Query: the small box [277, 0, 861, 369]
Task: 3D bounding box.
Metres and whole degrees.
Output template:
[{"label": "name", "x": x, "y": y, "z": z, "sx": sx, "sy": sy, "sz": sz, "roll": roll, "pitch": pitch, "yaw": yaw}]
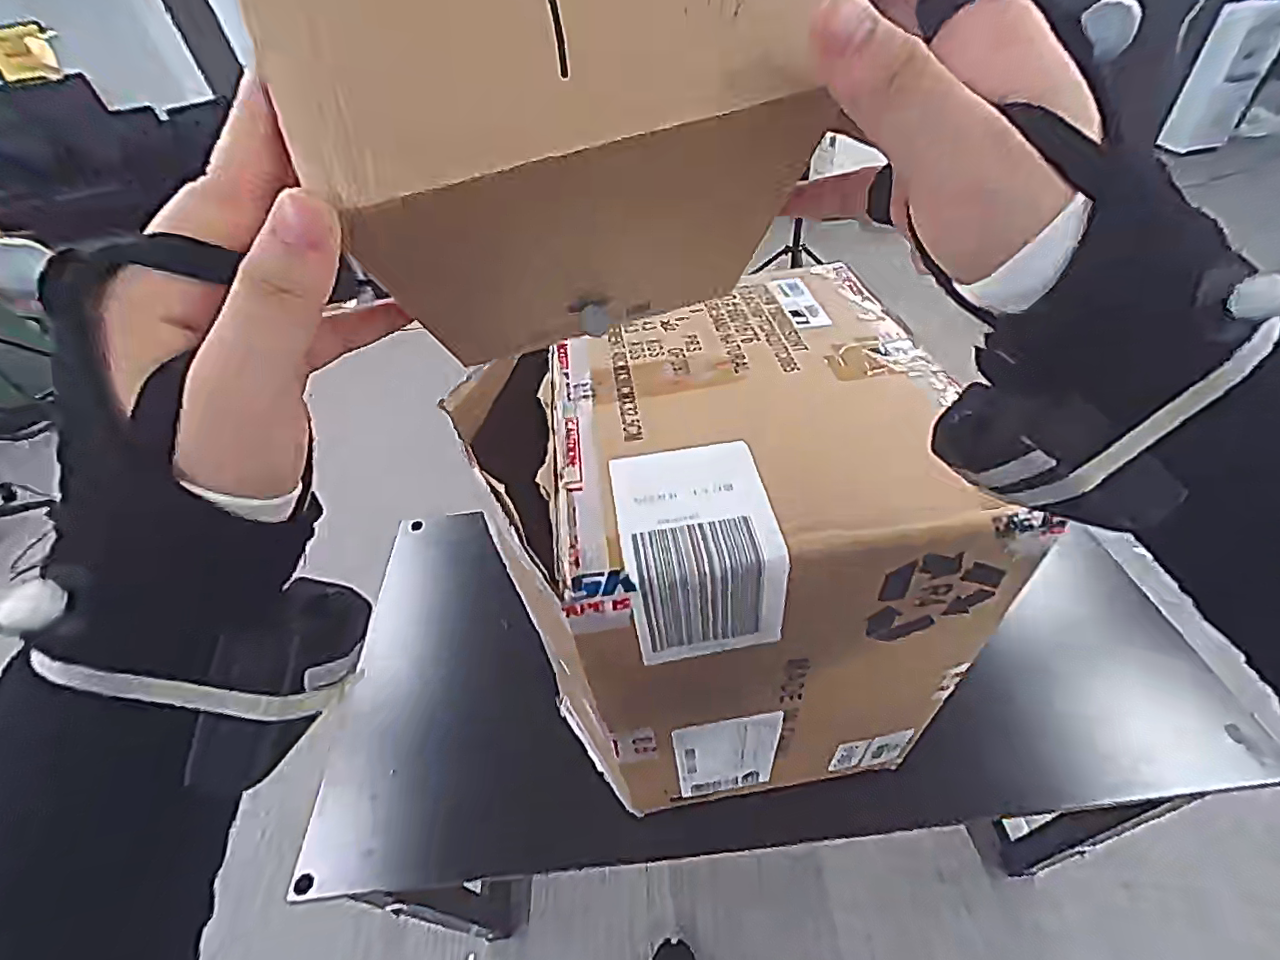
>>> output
[{"label": "small box", "x": -0.037, "y": -0.172, "z": 0.245, "sx": 0.168, "sy": 0.176, "sz": 0.179, "roll": -17, "pitch": 87, "yaw": -4}]
